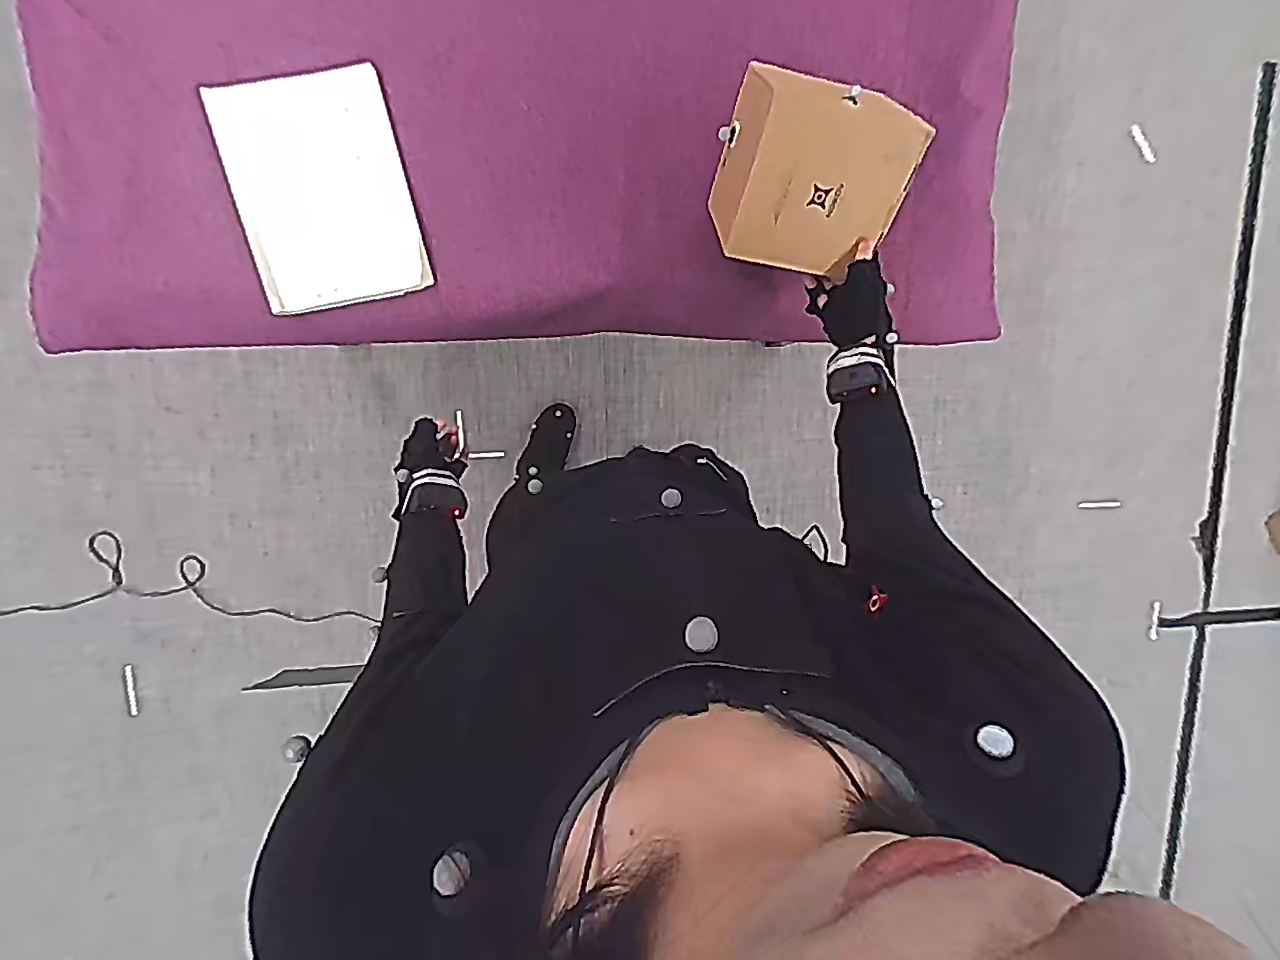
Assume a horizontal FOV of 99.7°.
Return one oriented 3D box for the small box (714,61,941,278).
[{"bbox_3d":[0.200,-0.365,0.636,0.179,0.176,0.168,7,134,-9],"label":"small box"}]
